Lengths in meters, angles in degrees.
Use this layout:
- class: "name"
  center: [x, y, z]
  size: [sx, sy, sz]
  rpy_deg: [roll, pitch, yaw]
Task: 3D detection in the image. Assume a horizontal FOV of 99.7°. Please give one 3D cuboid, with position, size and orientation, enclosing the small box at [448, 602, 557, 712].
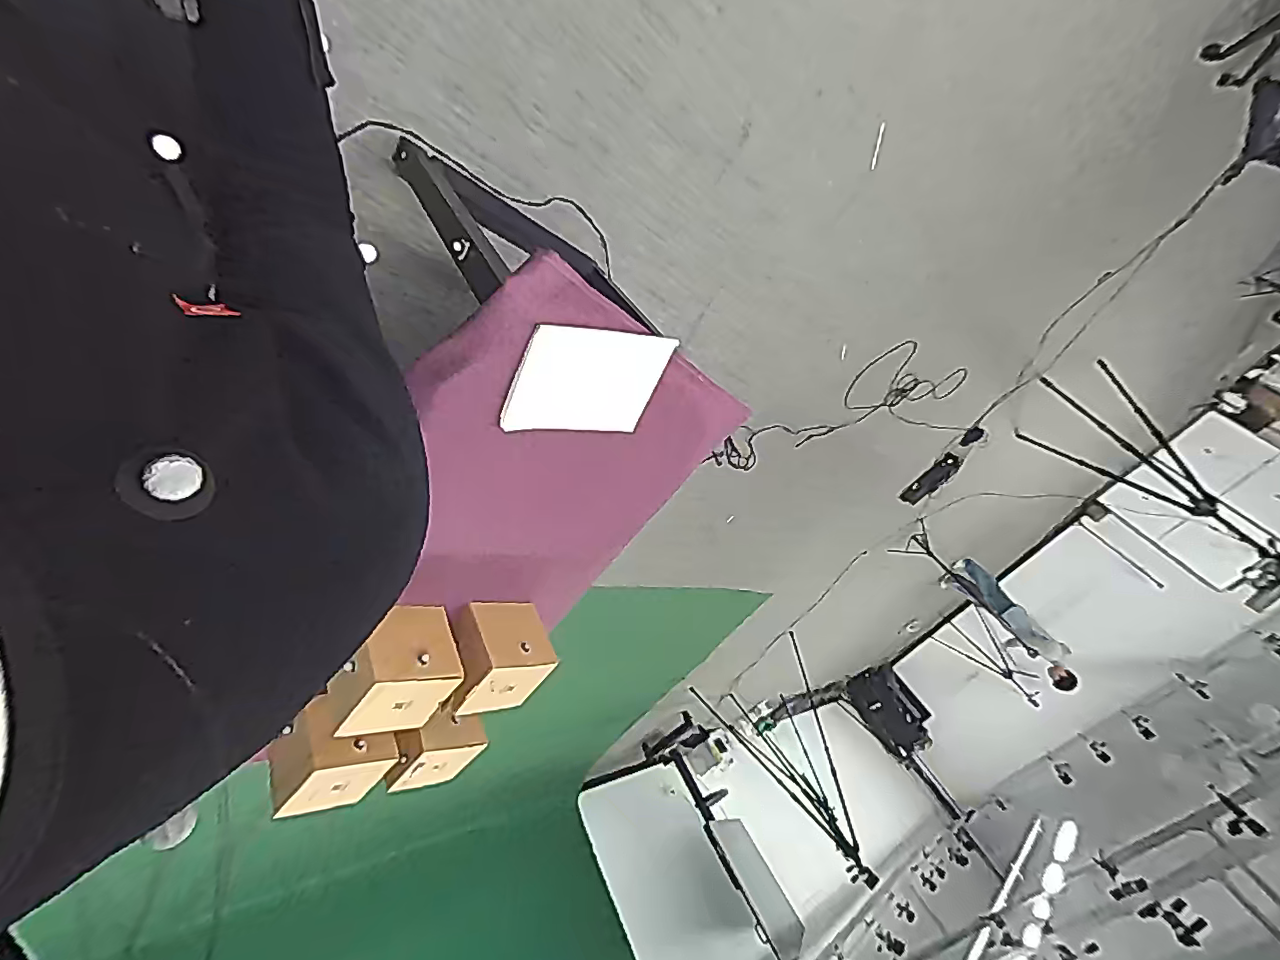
- class: "small box"
  center: [-0.323, 0.389, 1.208]
  size: [0.179, 0.176, 0.168]
  rpy_deg: [17, 121, -47]

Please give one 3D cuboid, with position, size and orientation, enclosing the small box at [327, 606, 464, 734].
- class: "small box"
  center: [-0.480, 0.361, 1.050]
  size: [0.168, 0.176, 0.179]
  rpy_deg: [-48, 142, 18]

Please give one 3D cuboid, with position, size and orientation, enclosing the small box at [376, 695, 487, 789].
- class: "small box"
  center: [-0.512, 0.613, 1.319]
  size: [0.168, 0.176, 0.179]
  rpy_deg: [-47, 144, 16]
